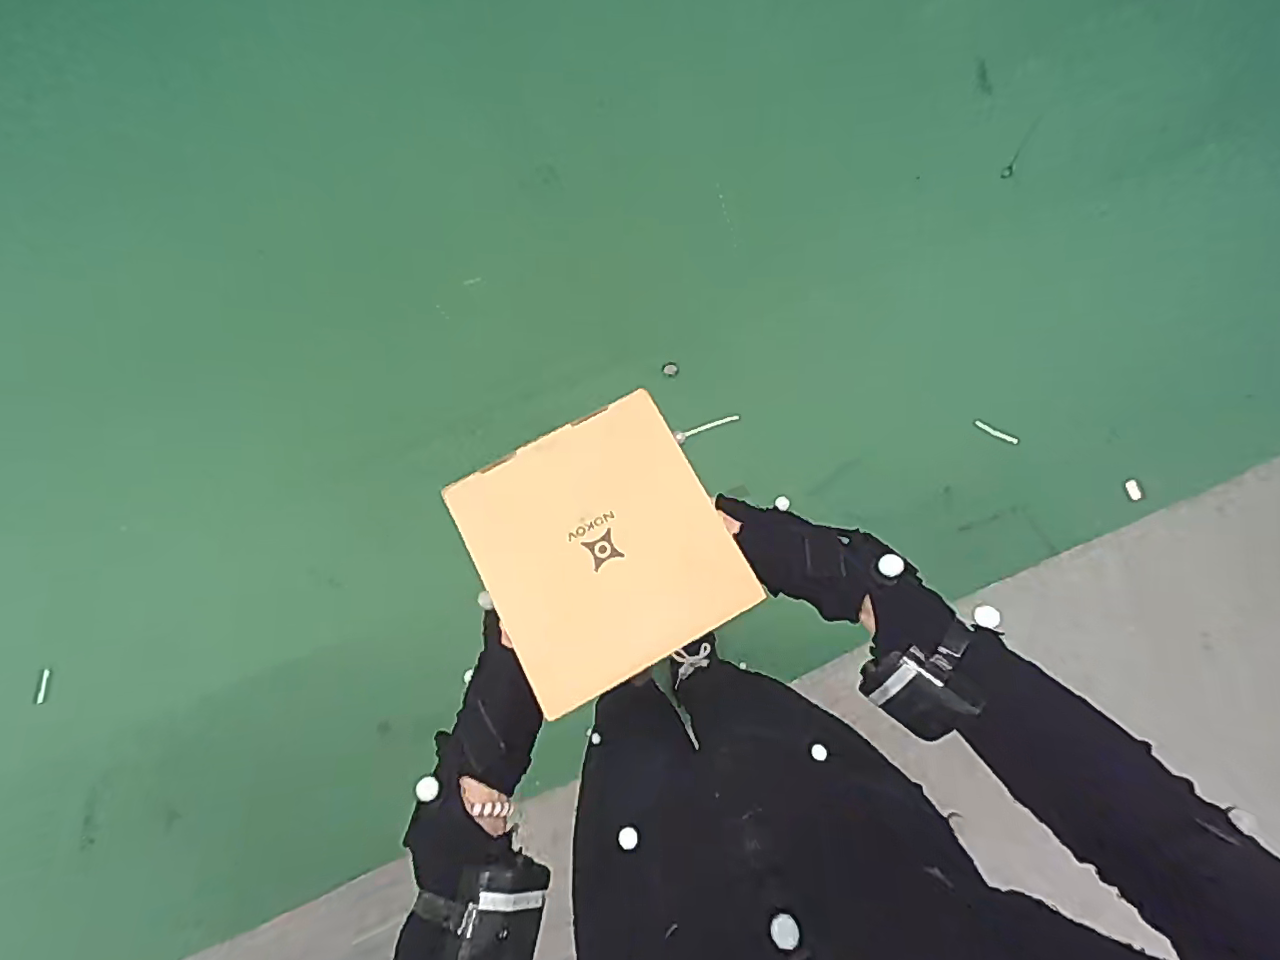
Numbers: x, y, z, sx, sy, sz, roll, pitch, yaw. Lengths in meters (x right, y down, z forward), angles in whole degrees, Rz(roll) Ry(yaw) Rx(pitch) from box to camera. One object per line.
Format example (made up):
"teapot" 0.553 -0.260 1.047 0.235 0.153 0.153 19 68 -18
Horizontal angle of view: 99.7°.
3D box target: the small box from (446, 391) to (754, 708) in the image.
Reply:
"small box" -0.028 0.061 0.458 0.168 0.176 0.179 -28 75 -6
